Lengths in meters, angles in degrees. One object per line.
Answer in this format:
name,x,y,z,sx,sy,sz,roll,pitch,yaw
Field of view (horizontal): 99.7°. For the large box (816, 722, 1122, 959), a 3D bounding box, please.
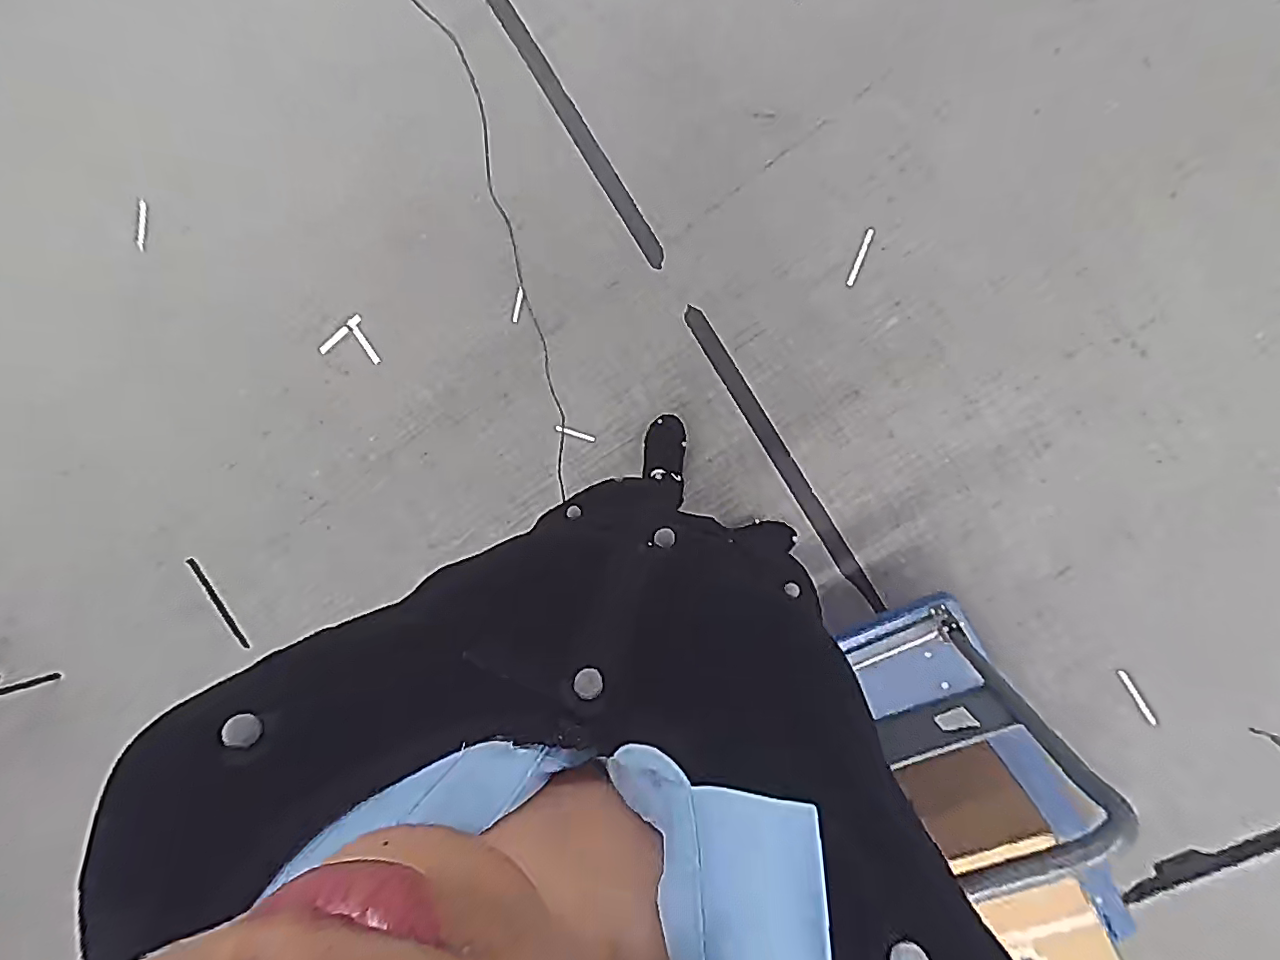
large box,0.642,0.789,1.142,0.408,0.320,0.320,-28,91,12
